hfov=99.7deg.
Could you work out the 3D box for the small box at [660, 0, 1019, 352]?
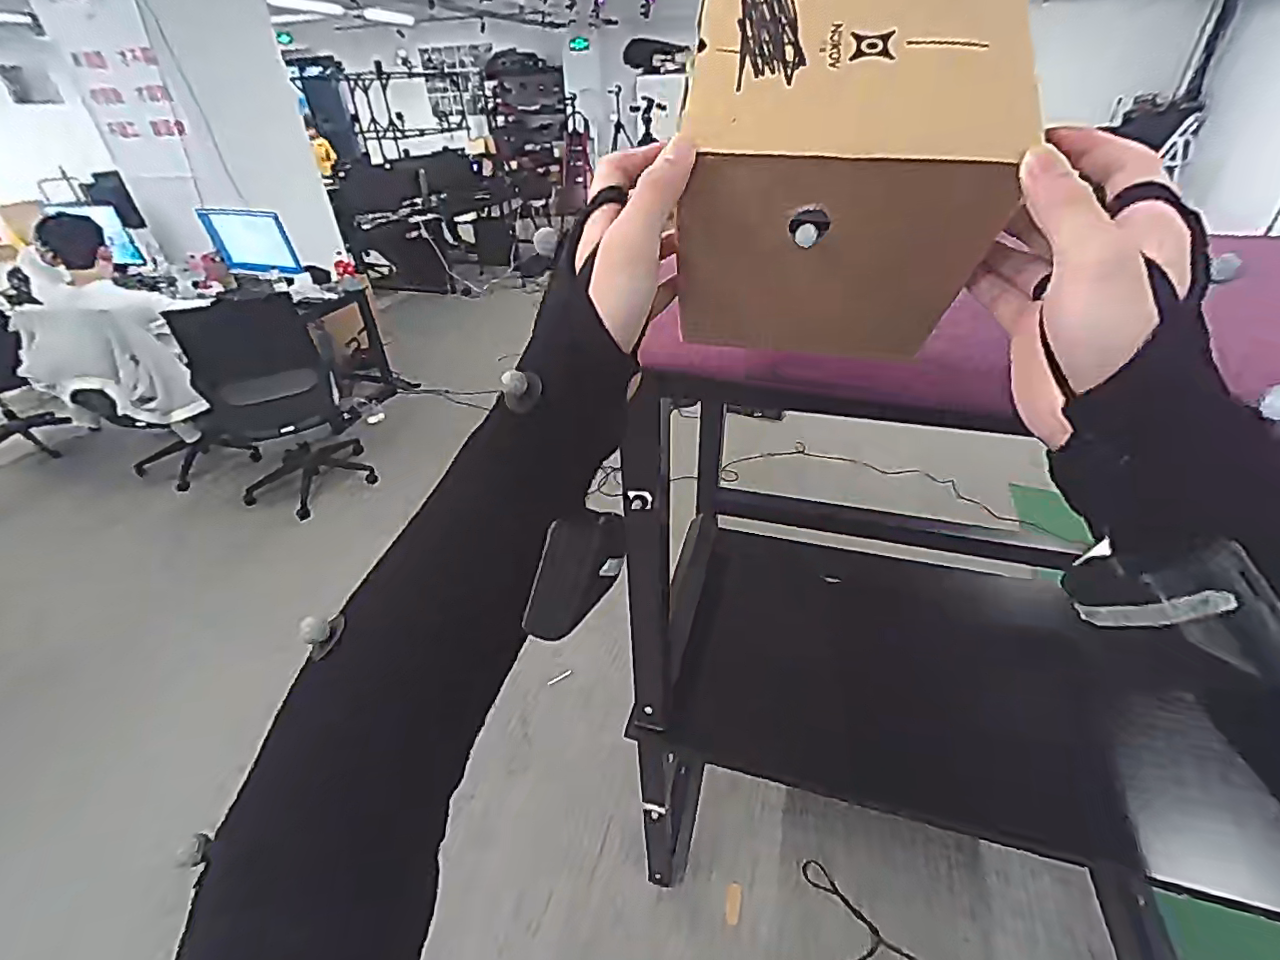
[{"bbox_3d":[0.117,-0.206,0.370,0.179,0.176,0.168,7,70,9],"label":"small box"}]
